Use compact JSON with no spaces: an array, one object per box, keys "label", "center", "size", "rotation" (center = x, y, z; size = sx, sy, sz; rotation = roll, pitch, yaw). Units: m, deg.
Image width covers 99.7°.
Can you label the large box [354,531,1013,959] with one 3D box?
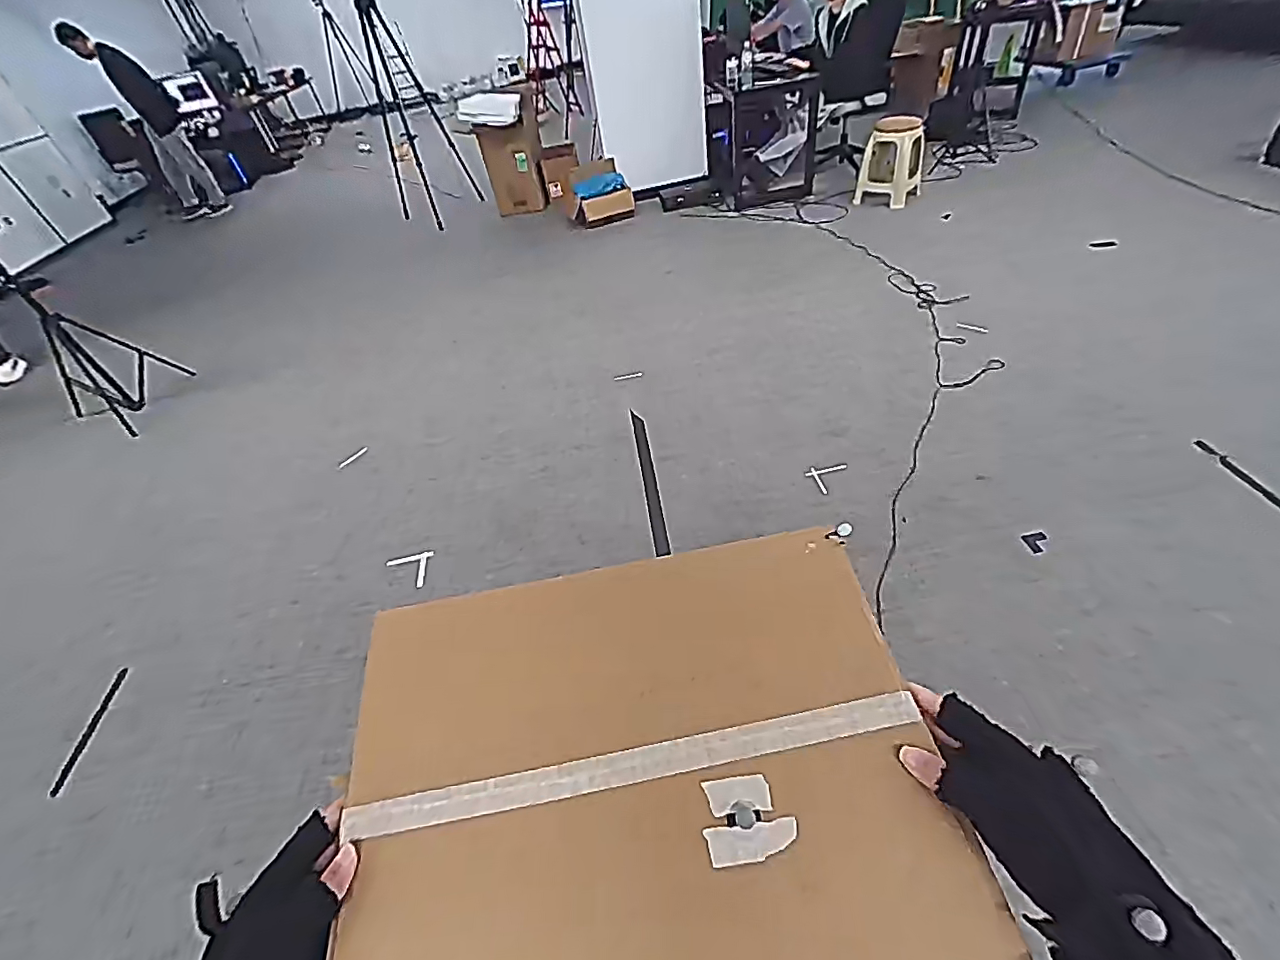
[{"label":"large box","center":[0.012,0.292,0.513],"size":[0.408,0.320,0.320],"rotation":[-11,54,-2]}]
